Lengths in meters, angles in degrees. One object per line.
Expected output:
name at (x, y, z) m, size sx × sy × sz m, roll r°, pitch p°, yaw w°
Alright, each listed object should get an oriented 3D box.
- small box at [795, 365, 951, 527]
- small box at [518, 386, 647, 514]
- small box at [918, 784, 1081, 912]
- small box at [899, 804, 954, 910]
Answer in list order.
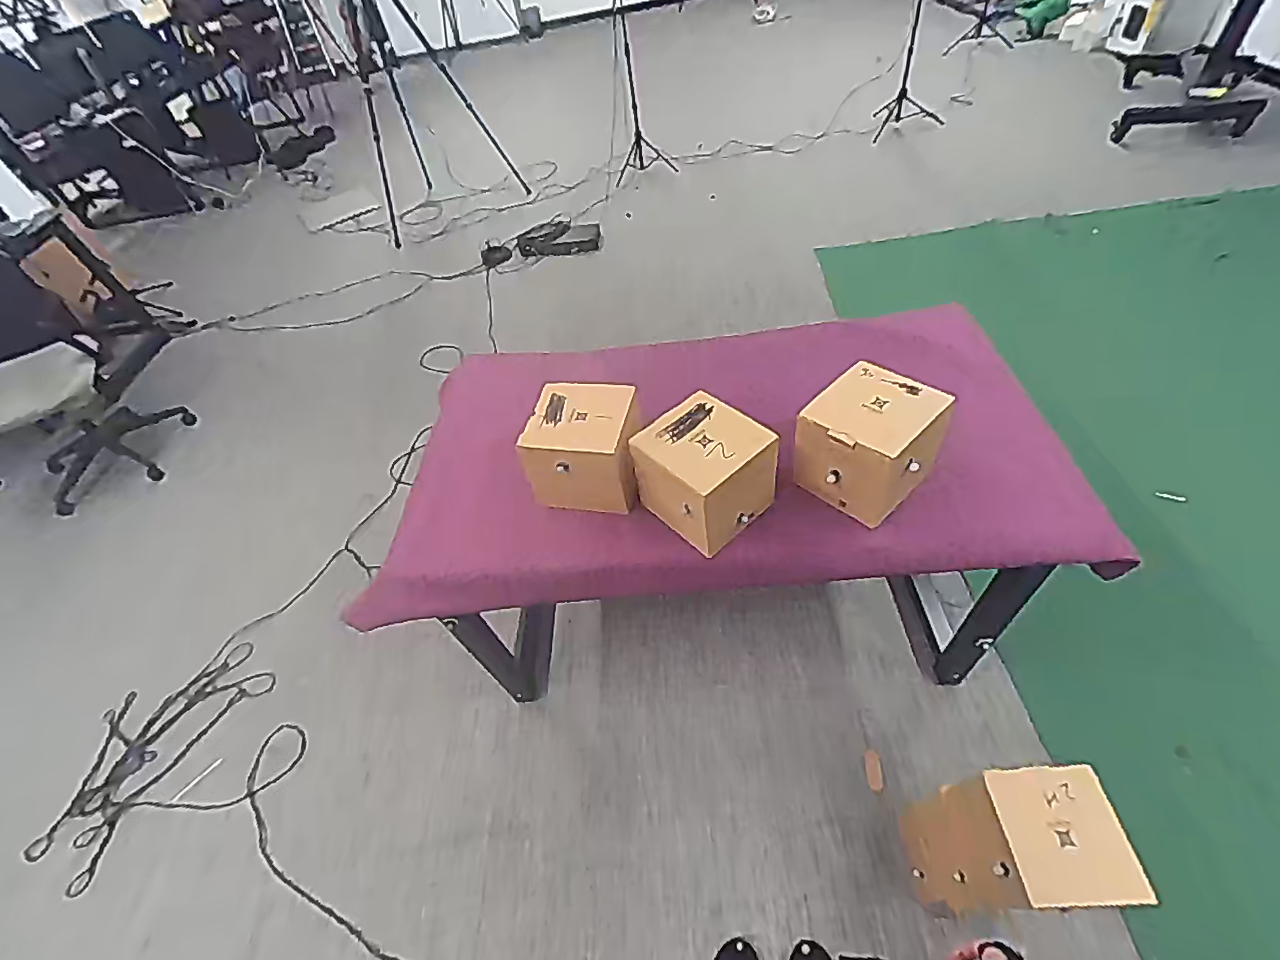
small box at (0.378, -0.054, 0.904) m, size 0.179 × 0.176 × 0.168 m, roll -38°, pitch 53°, yaw -21°
small box at (-0.095, -0.053, 0.993) m, size 0.179 × 0.176 × 0.168 m, roll 5°, pitch 51°, yaw 14°
small box at (0.635, 0.673, 0.986) m, size 0.168 × 0.176 × 0.179 m, roll -6°, pitch 50°, yaw 5°
small box at (0.651, 0.776, 1.110) m, size 0.179 × 0.176 × 0.168 m, roll -4°, pitch 49°, yaw 6°
